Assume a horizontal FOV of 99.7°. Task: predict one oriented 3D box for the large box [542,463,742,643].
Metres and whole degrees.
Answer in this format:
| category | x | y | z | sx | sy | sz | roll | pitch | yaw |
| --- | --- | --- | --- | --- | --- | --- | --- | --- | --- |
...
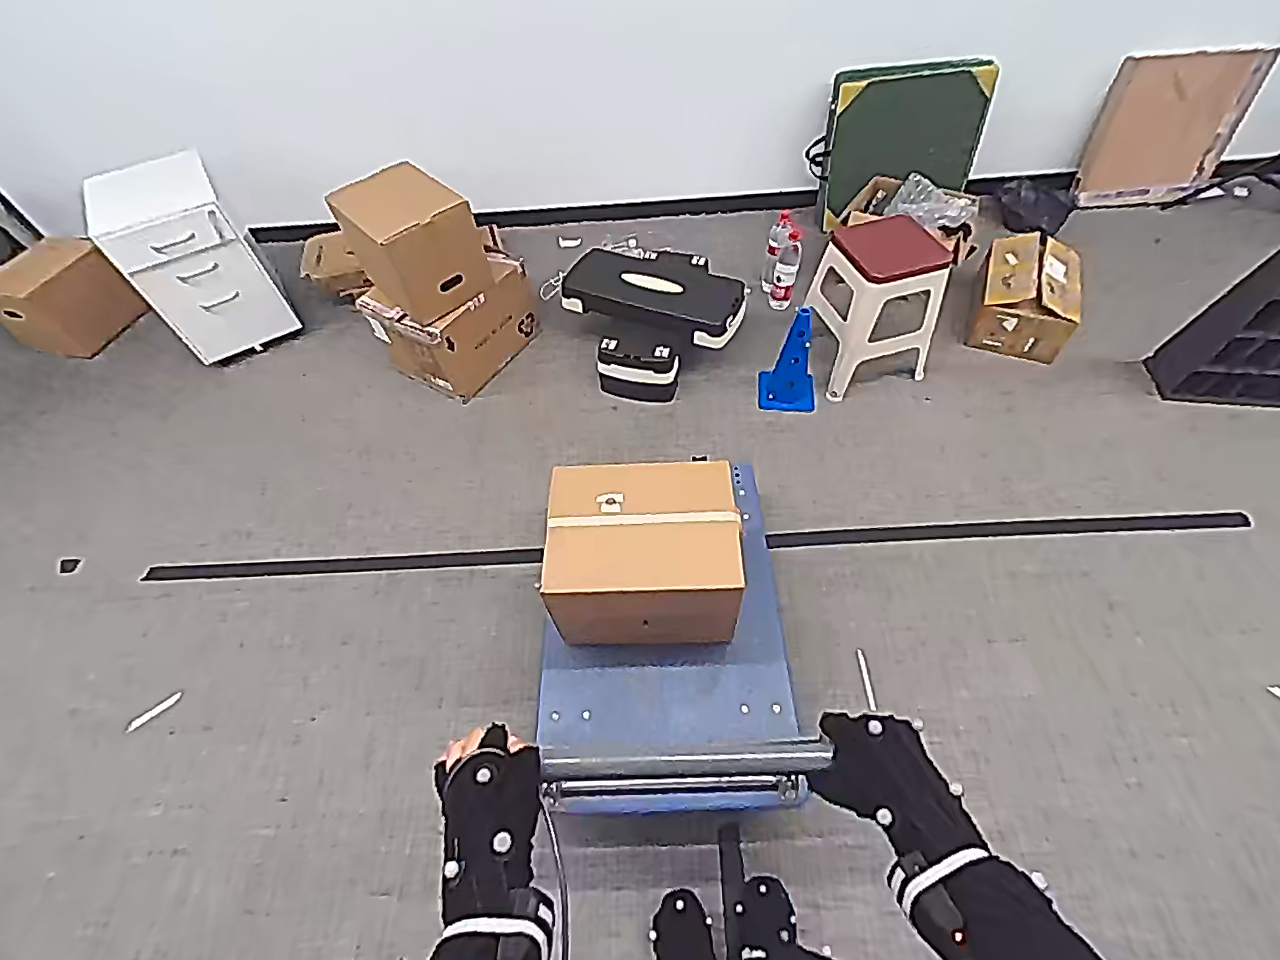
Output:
| category | x | y | z | sx | sy | sz | roll | pitch | yaw |
| --- | --- | --- | --- | --- | --- | --- | --- | --- | --- |
| large box | 0.010 | 0.182 | 1.269 | 0.408 | 0.320 | 0.320 | -2 | 54 | 3 |
